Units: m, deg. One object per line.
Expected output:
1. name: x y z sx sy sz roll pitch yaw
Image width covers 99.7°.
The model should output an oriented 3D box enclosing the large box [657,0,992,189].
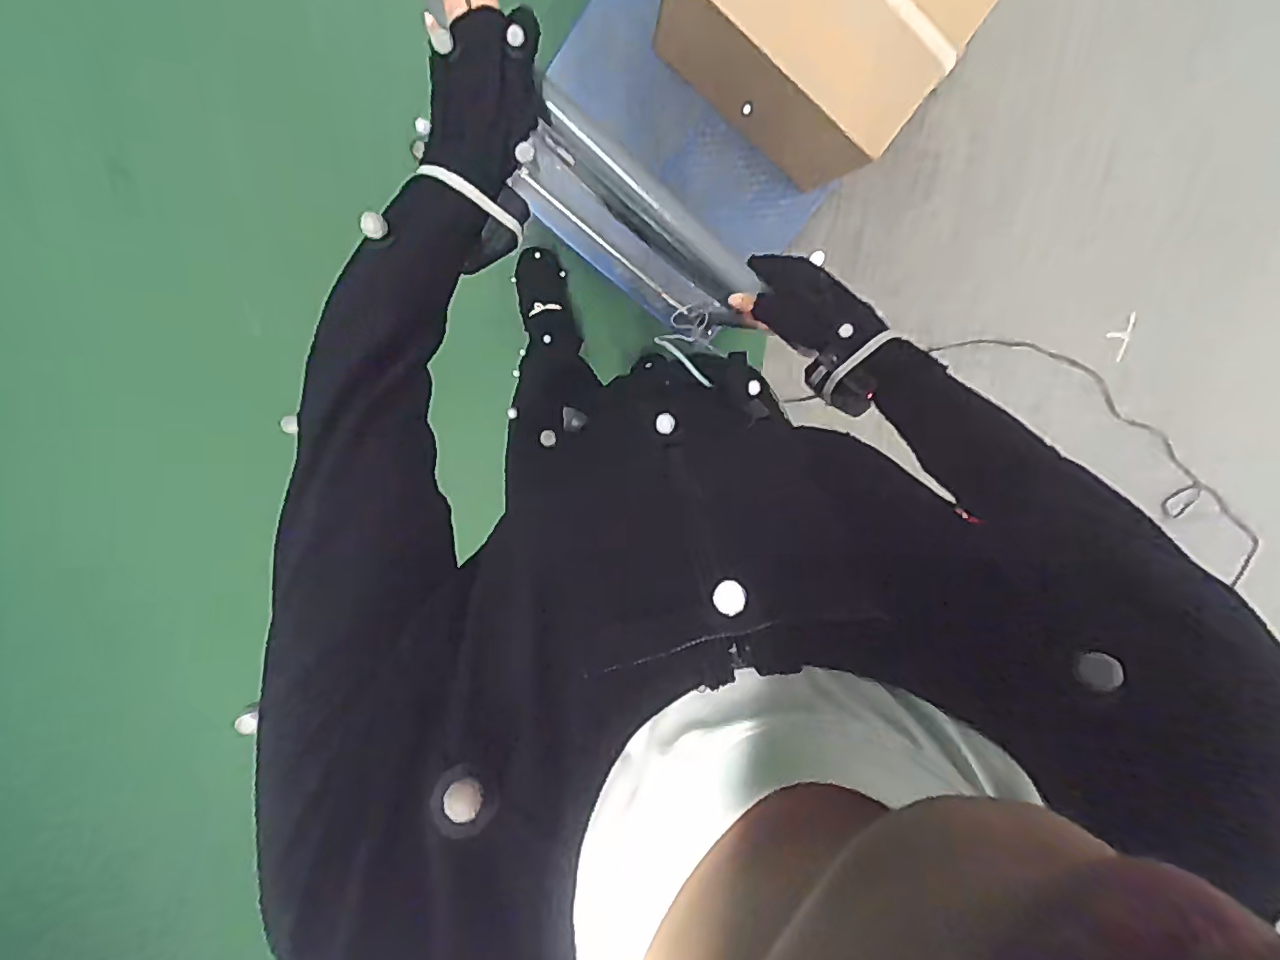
1. large box: 0.281 -0.764 0.891 0.408 0.320 0.320 35 104 -13
